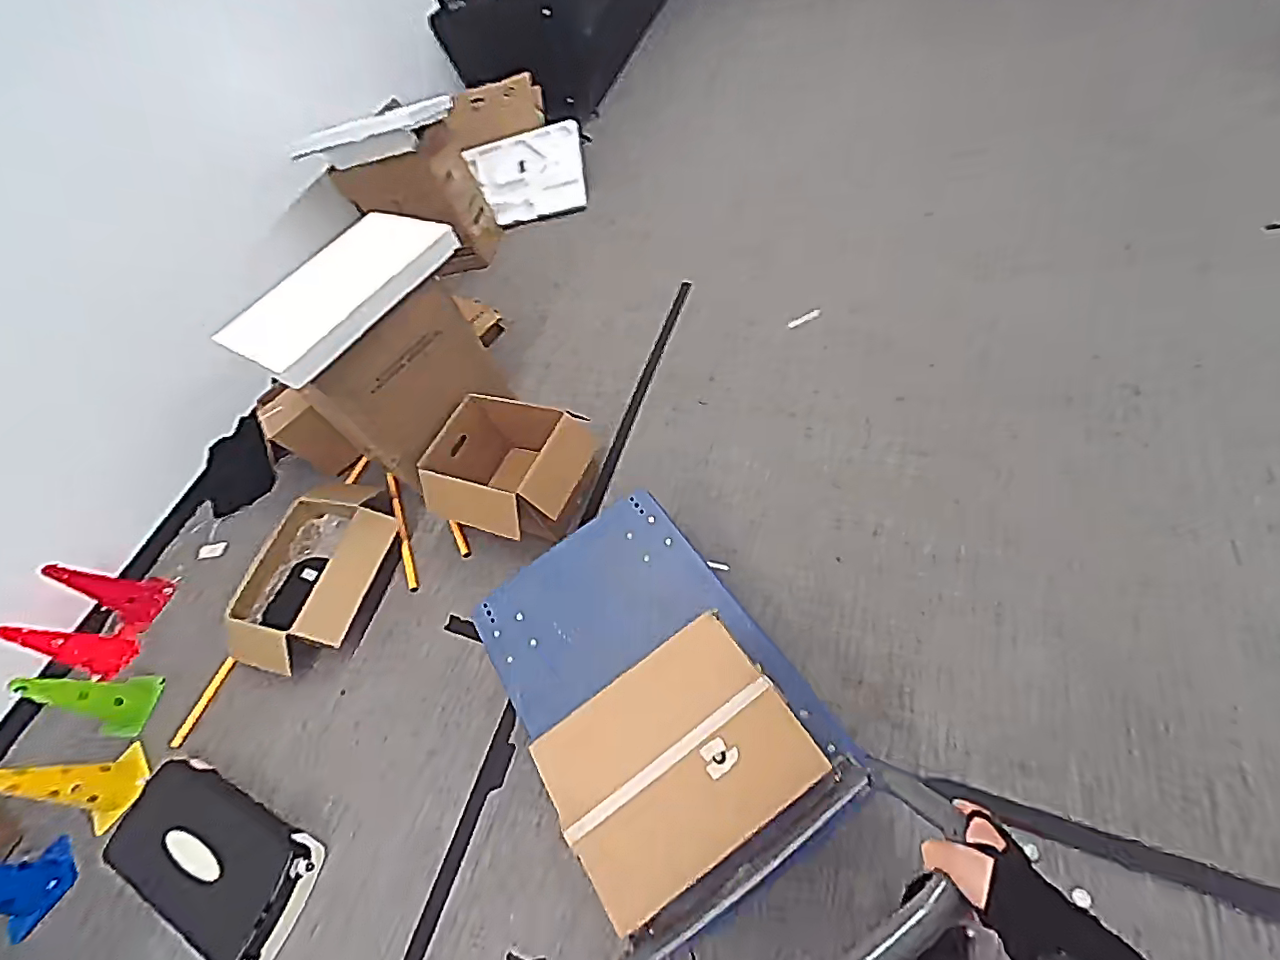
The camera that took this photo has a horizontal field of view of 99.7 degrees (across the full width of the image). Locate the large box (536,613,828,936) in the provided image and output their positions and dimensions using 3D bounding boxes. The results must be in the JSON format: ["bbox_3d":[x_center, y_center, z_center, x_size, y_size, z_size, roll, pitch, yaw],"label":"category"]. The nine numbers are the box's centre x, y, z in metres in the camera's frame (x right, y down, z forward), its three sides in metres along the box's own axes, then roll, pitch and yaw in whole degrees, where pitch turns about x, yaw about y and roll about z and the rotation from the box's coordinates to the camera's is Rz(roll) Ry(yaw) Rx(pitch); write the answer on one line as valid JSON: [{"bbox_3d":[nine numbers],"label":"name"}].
[{"bbox_3d":[0.088,0.532,1.020,0.408,0.320,0.320,-36,59,-7],"label":"large box"}]
